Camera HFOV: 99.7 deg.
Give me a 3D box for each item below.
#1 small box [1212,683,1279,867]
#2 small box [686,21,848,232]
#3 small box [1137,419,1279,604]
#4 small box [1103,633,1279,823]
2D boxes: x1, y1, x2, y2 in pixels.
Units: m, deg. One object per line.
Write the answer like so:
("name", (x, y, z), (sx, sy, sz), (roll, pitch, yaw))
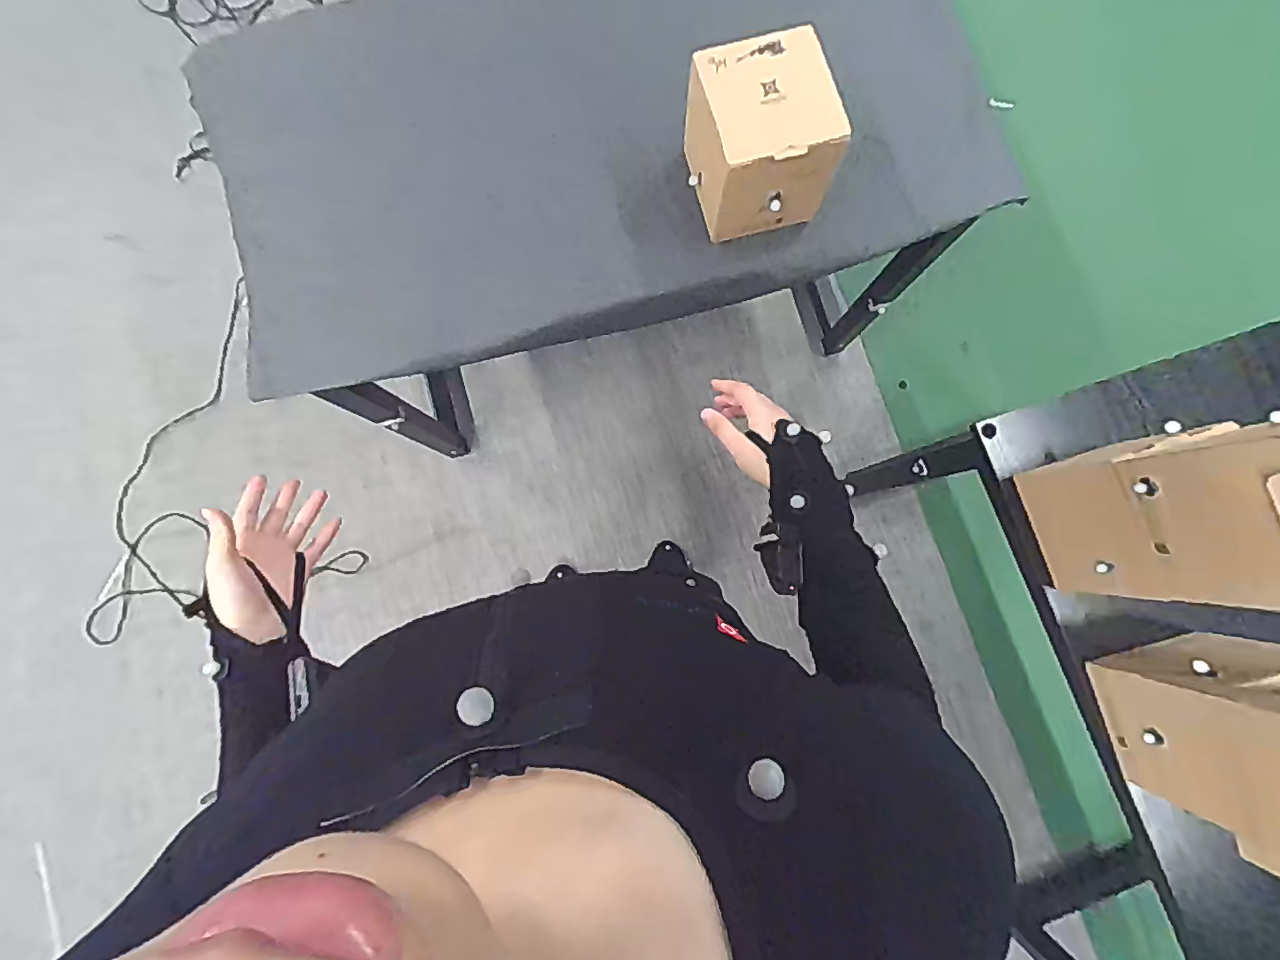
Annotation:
("small box", (0.716, 0.302, 0.509), (0.168, 0.176, 0.179), (-7, 83, 0))
("small box", (0.166, -0.480, 0.766), (0.168, 0.176, 0.179), (-15, 82, -1))
("small box", (0.658, 0.025, 0.540), (0.179, 0.176, 0.168), (-15, 85, -2))
("small box", (0.732, 0.302, 0.672), (0.179, 0.176, 0.168), (-14, 84, -1))
